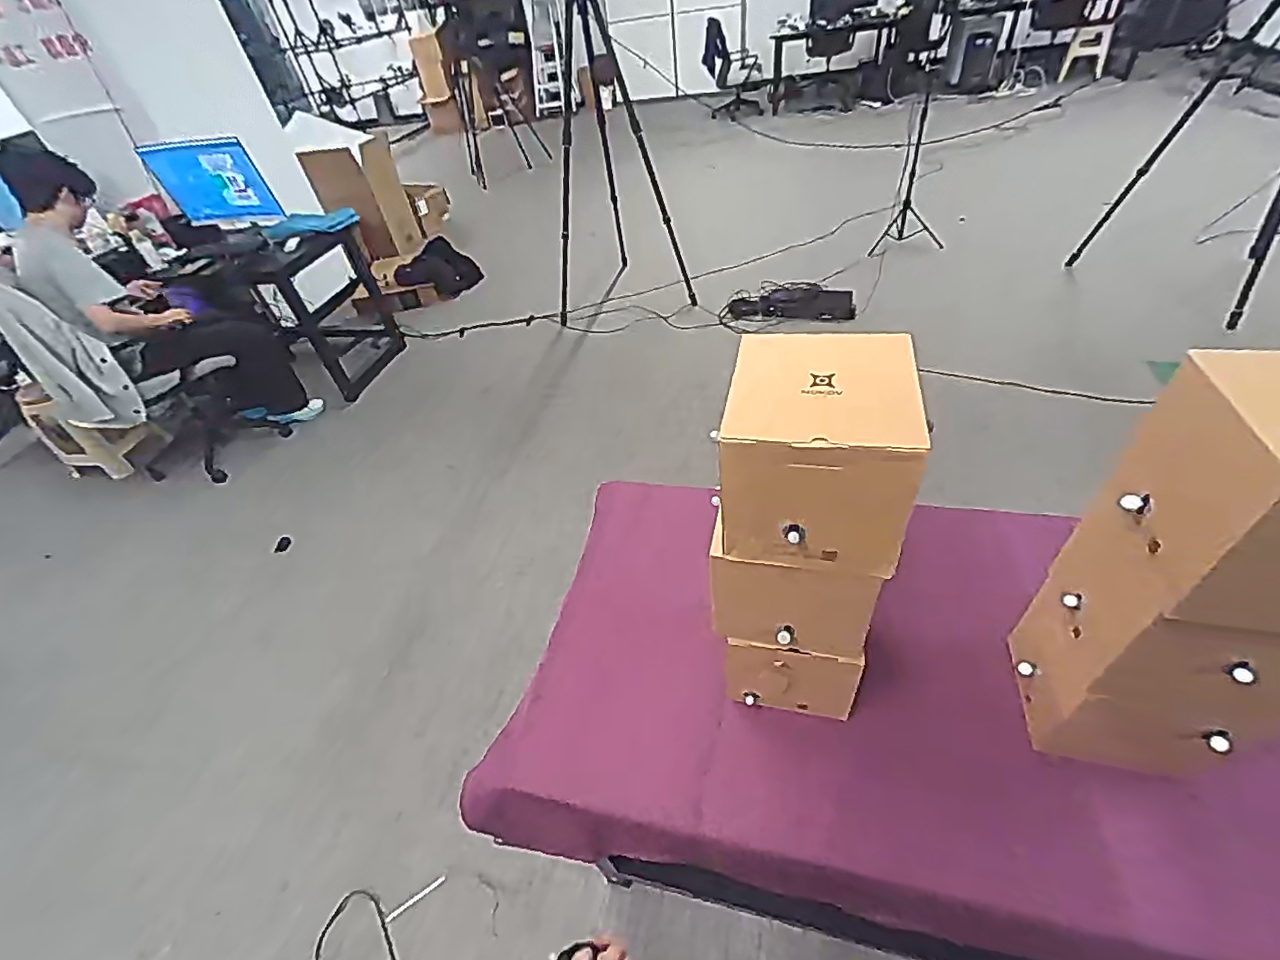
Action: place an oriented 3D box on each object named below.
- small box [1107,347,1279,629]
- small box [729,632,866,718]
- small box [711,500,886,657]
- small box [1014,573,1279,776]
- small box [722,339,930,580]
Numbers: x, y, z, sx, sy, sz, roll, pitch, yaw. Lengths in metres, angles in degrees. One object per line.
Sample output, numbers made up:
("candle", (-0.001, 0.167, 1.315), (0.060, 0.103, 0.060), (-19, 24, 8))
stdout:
("small box", (0.538, 0.011, 0.436), (0.179, 0.176, 0.168), (4, 44, 16))
("small box", (0.222, 0.213, 0.771), (0.168, 0.176, 0.179), (4, 44, 15))
("small box", (0.189, 0.095, 0.661), (0.179, 0.176, 0.168), (6, 45, 16))
("small box", (0.600, 0.239, 0.664), (0.179, 0.176, 0.168), (5, 45, 16))
("small box", (0.177, -0.025, 0.550), (0.168, 0.176, 0.179), (4, 46, 15))
